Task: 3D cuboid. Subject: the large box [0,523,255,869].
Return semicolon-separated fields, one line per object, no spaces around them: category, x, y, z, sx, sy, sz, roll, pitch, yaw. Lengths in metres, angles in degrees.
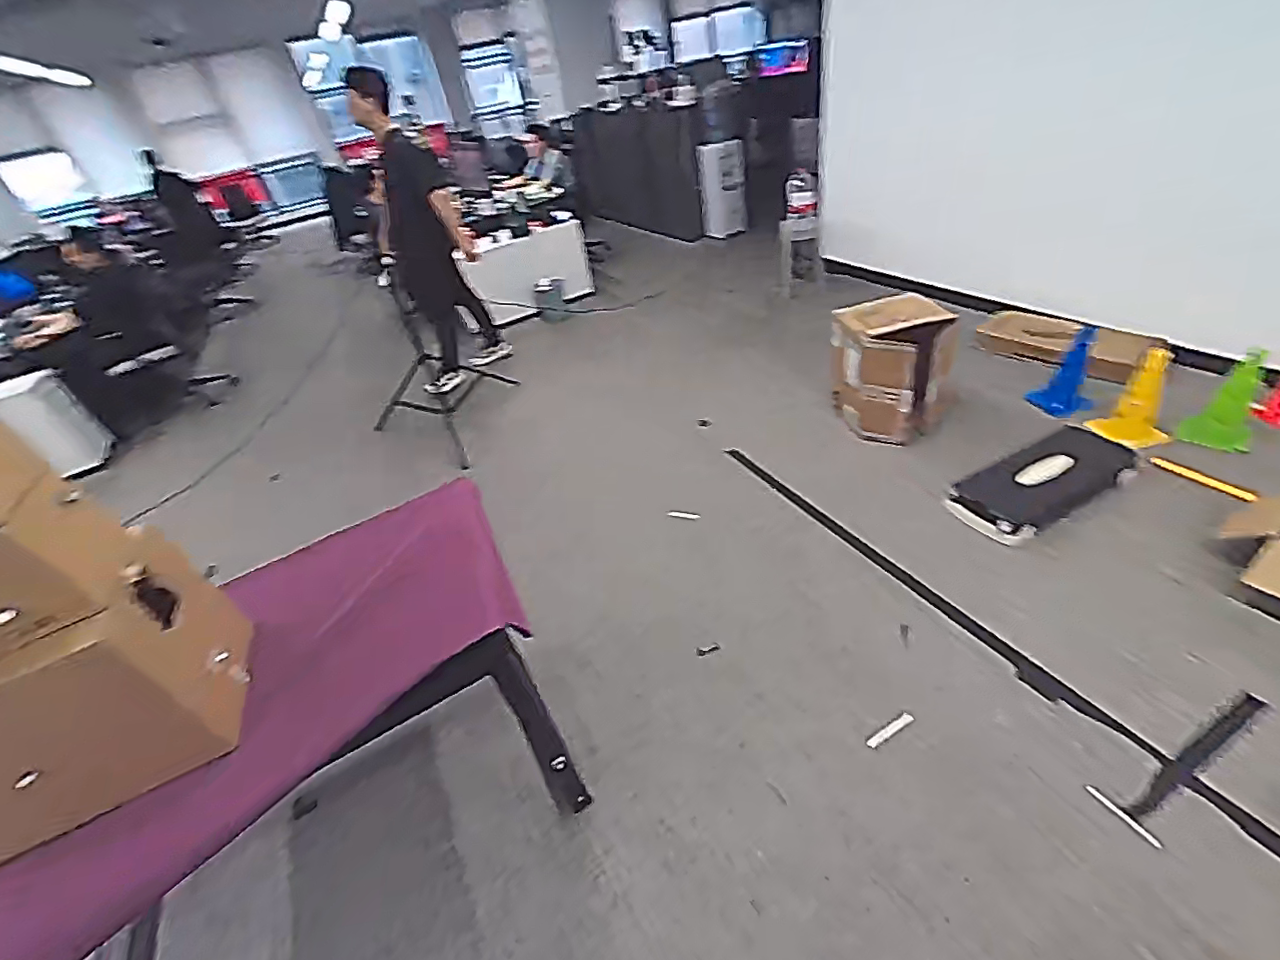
large box;-0.940;0.344;0.894;0.408;0.320;0.320;-26;37;-15

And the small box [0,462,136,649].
small box;-0.885;0.108;0.774;0.168;0.176;0.179;-26;39;-14
